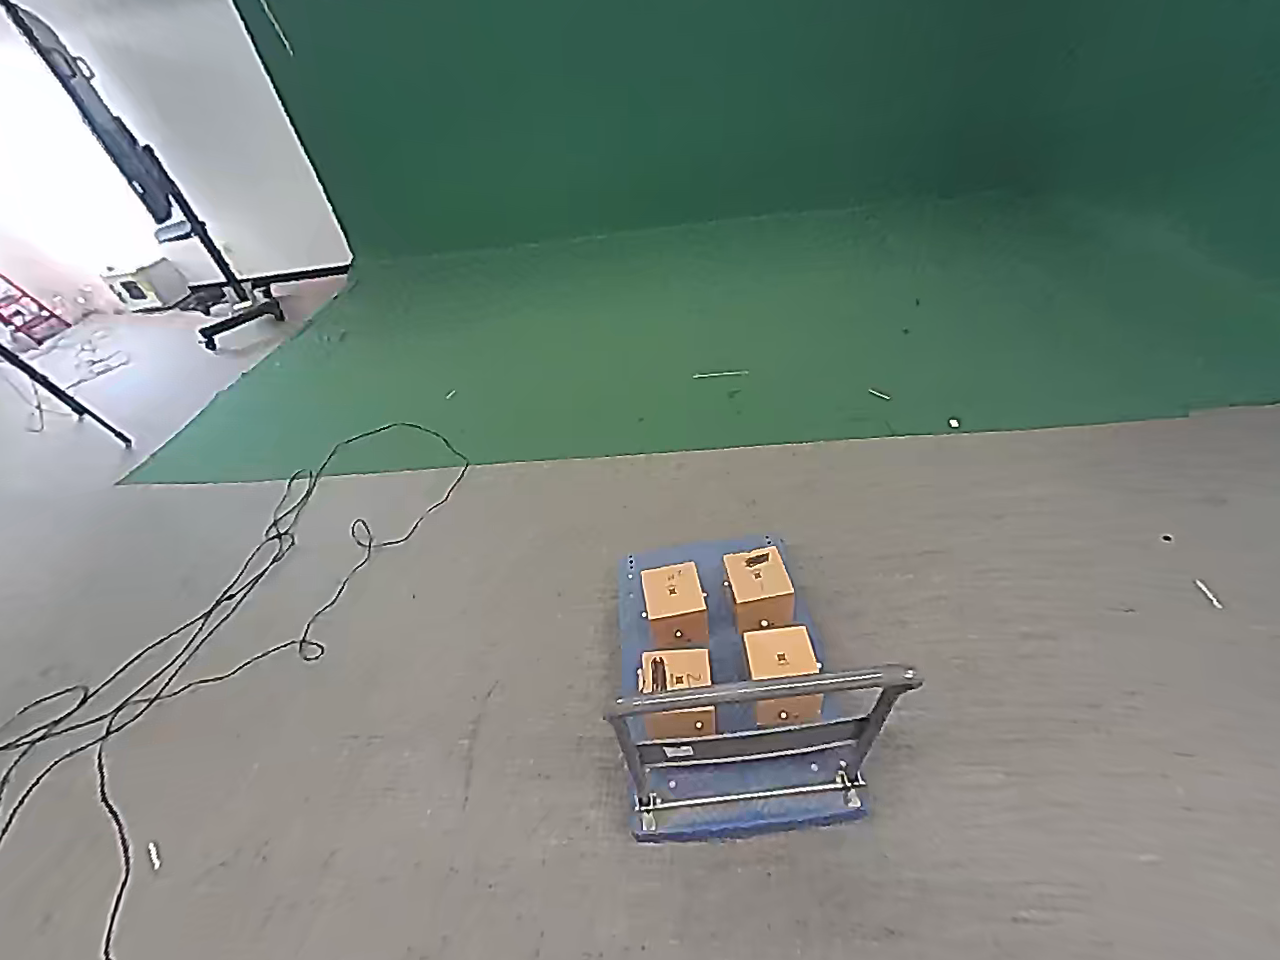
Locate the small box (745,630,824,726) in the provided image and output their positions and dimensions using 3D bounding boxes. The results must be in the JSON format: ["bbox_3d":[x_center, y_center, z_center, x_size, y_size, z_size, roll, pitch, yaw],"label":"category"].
[{"bbox_3d":[0.375,0.523,1.432,0.168,0.176,0.179,-8,42,3],"label":"small box"}]

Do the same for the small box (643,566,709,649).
[{"bbox_3d":[0.110,0.391,1.631,0.168,0.176,0.179,-10,42,-1],"label":"small box"}]

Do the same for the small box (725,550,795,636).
[{"bbox_3d":[0.357,0.343,1.633,0.168,0.176,0.179,-11,43,1],"label":"small box"}]
